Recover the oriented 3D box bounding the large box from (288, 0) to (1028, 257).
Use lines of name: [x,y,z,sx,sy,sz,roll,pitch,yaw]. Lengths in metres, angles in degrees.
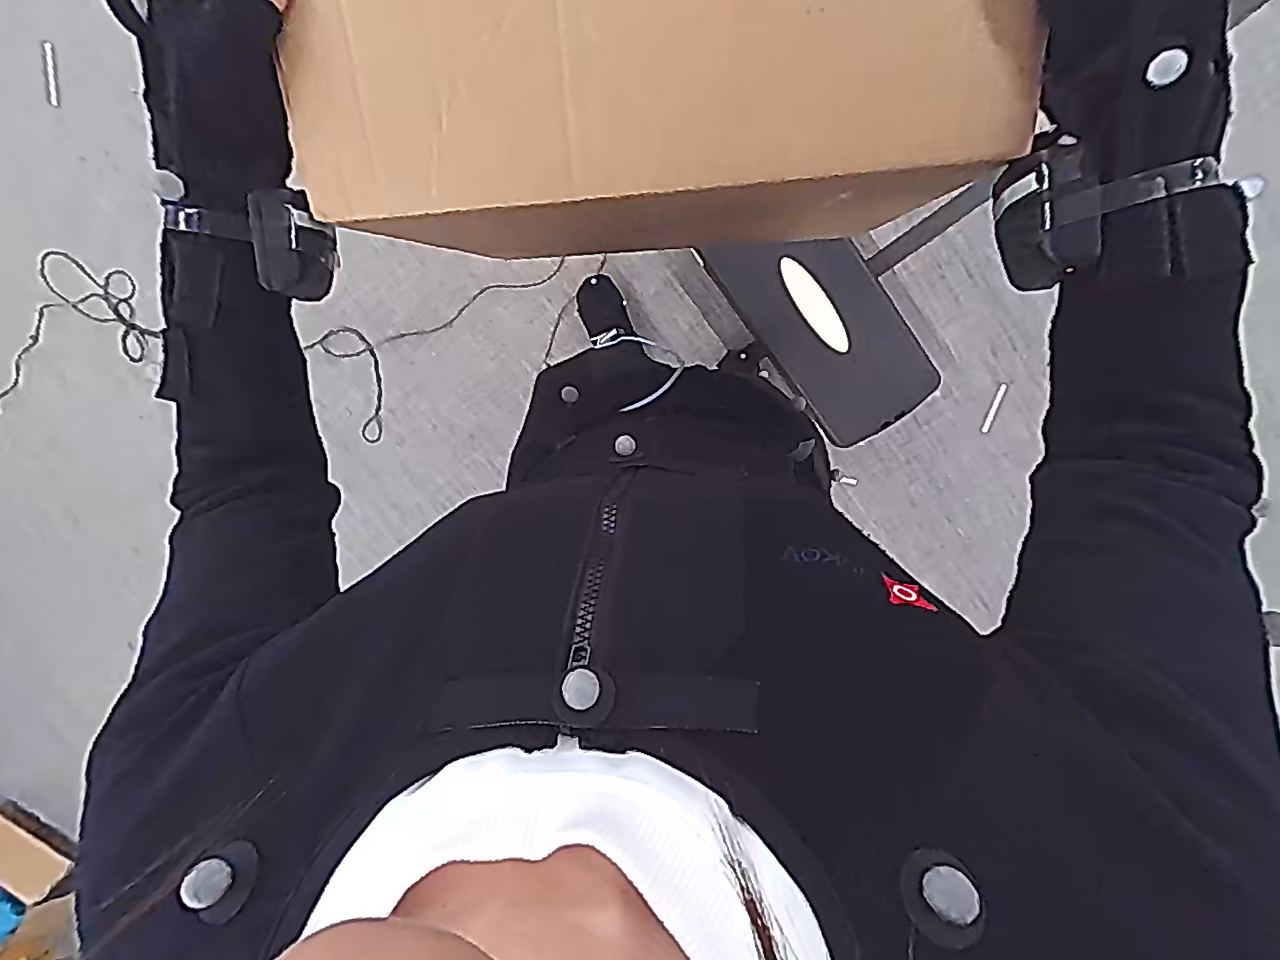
large box: [0.009,-0.366,0.412,0.408,0.320,0.320,-2,108,7]
